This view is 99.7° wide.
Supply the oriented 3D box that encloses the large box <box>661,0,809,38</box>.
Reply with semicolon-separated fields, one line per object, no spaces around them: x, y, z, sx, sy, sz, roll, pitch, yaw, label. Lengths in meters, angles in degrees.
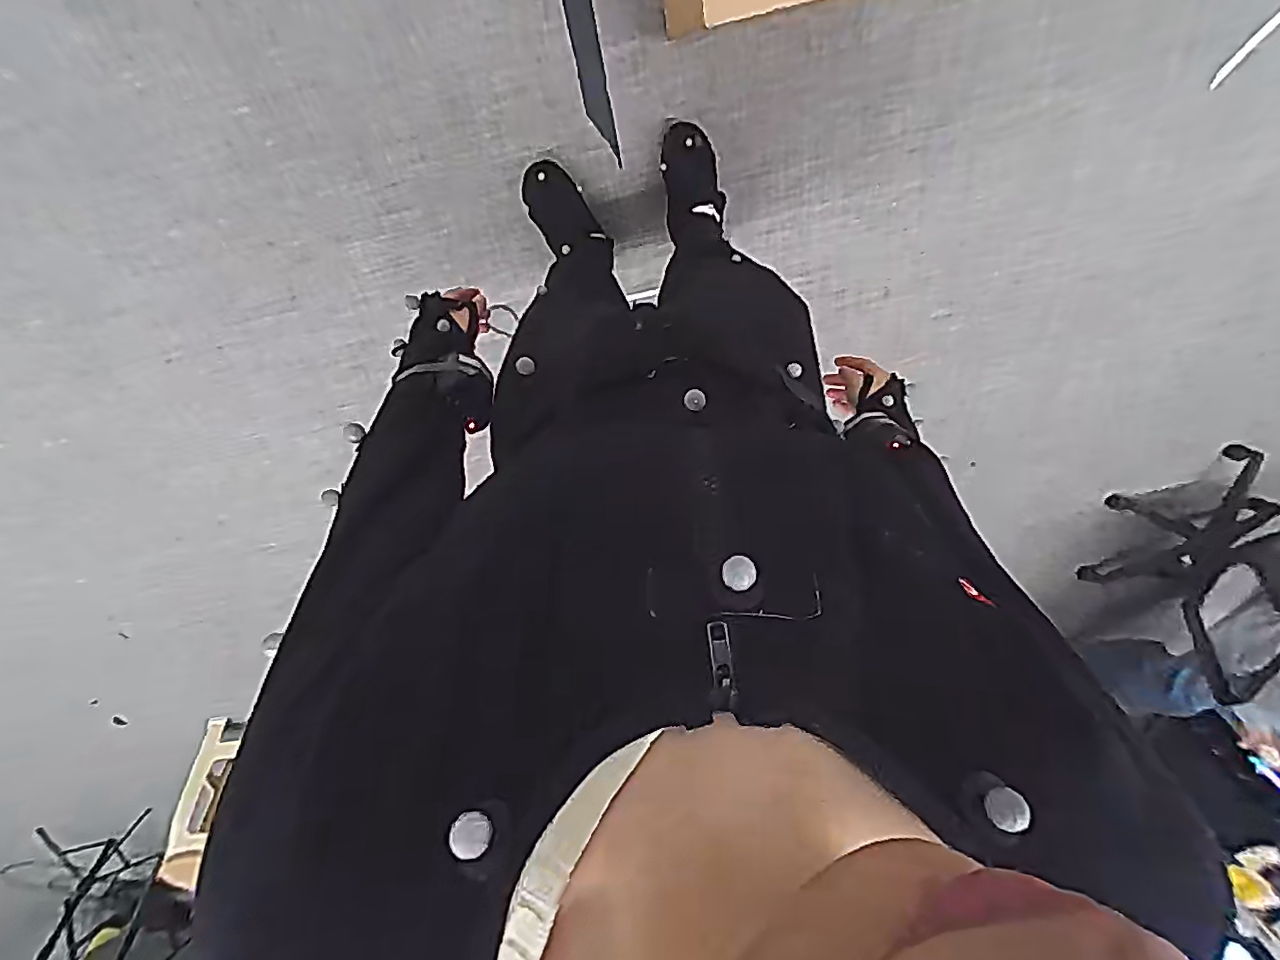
0.224;-0.876;0.760;0.408;0.320;0.320;-14;128;1;large box
